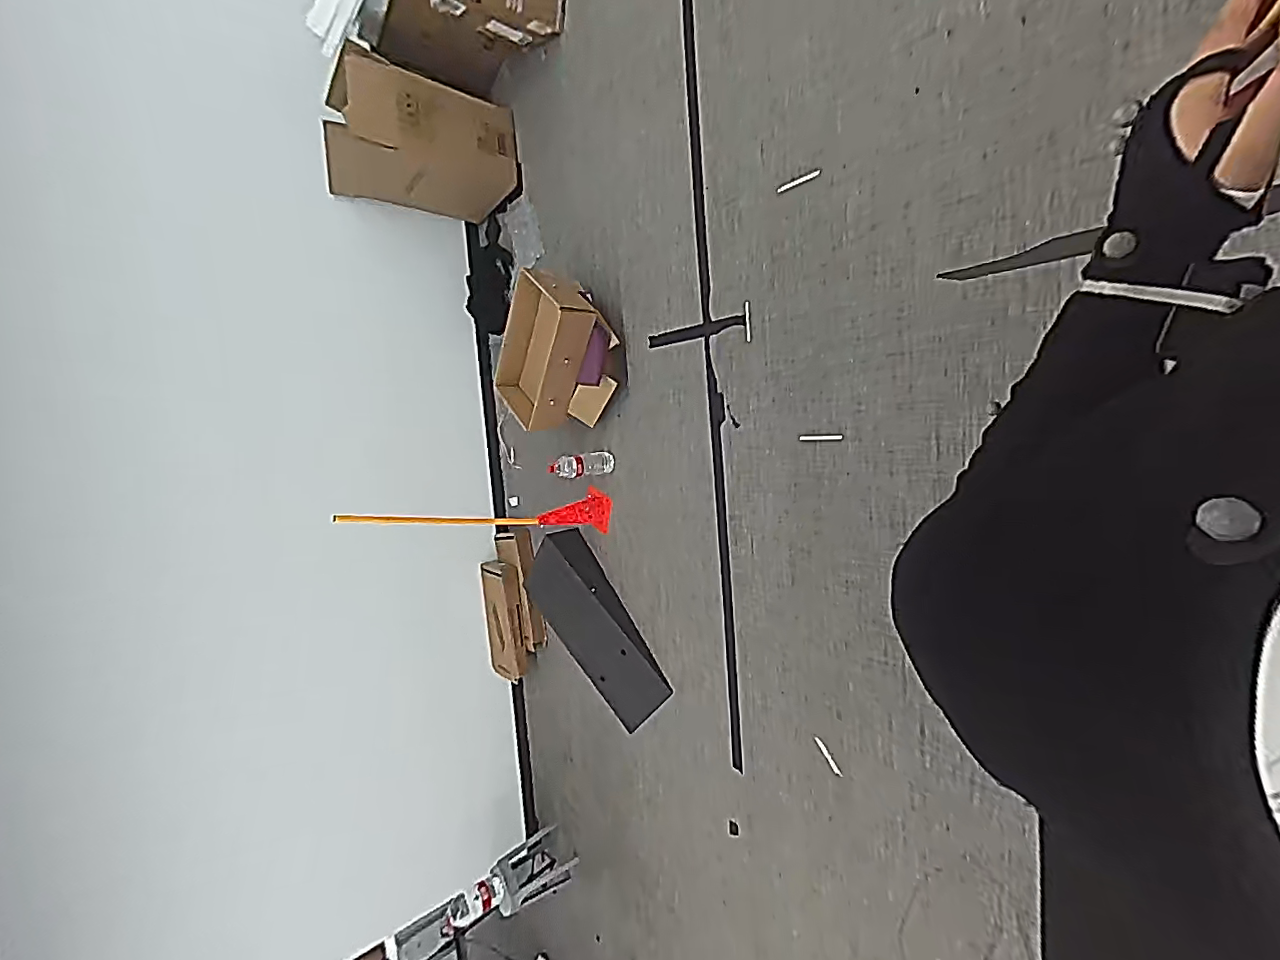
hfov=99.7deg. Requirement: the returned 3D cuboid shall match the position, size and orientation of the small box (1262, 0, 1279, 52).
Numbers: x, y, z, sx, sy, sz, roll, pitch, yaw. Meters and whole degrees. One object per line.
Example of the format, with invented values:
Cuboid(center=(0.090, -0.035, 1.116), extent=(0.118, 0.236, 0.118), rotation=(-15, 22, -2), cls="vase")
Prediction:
Cuboid(center=(0.447, -0.333, 0.263), extent=(0.179, 0.176, 0.168), rotation=(3, 111, 52), cls="small box")
